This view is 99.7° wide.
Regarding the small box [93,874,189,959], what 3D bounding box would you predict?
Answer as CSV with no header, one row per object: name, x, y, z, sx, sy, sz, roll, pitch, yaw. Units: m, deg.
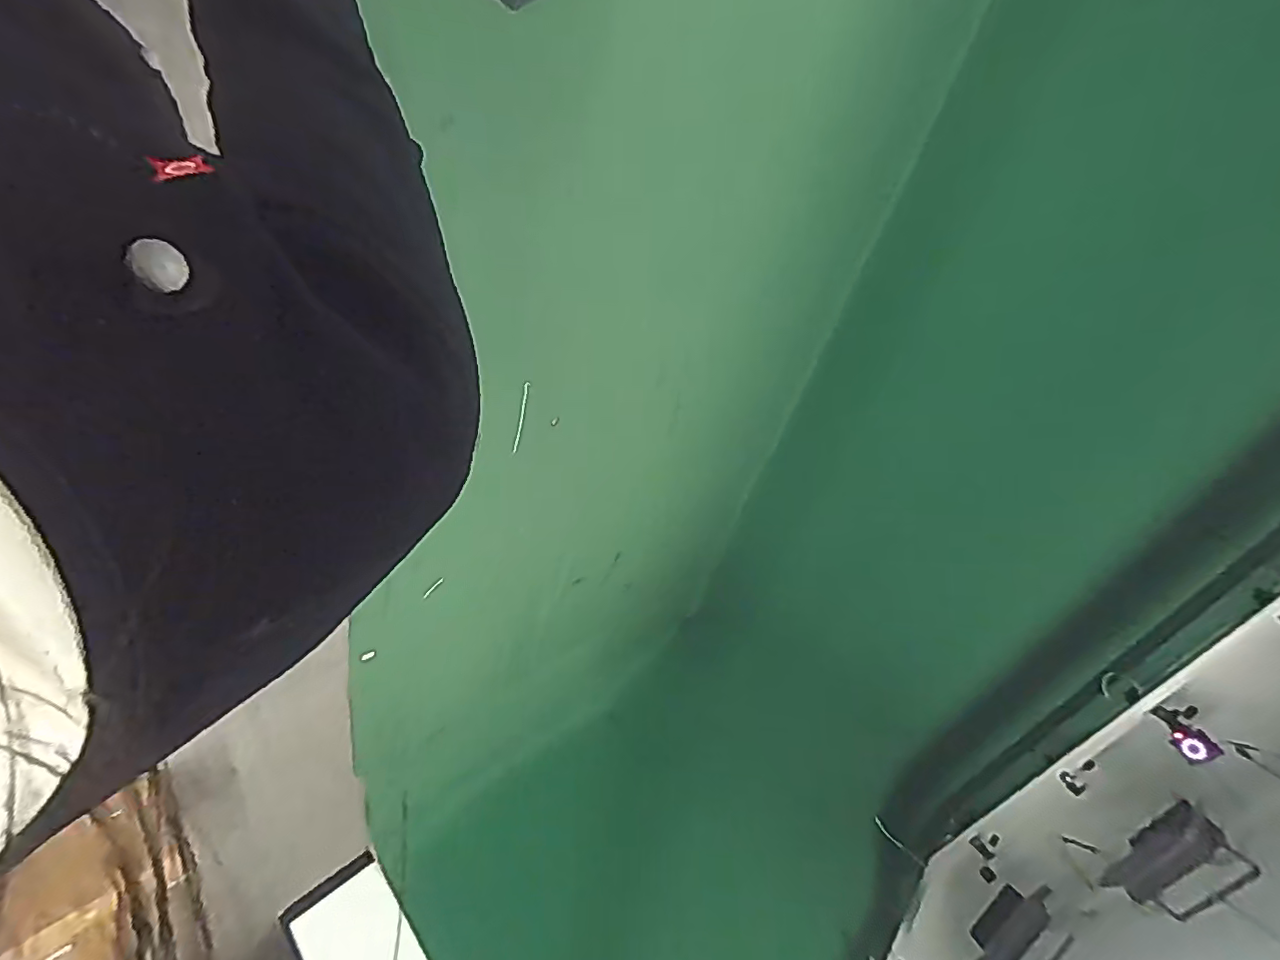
small box,-1.495,1.345,1.618,0.179,0.176,0.168,-21,134,-42
